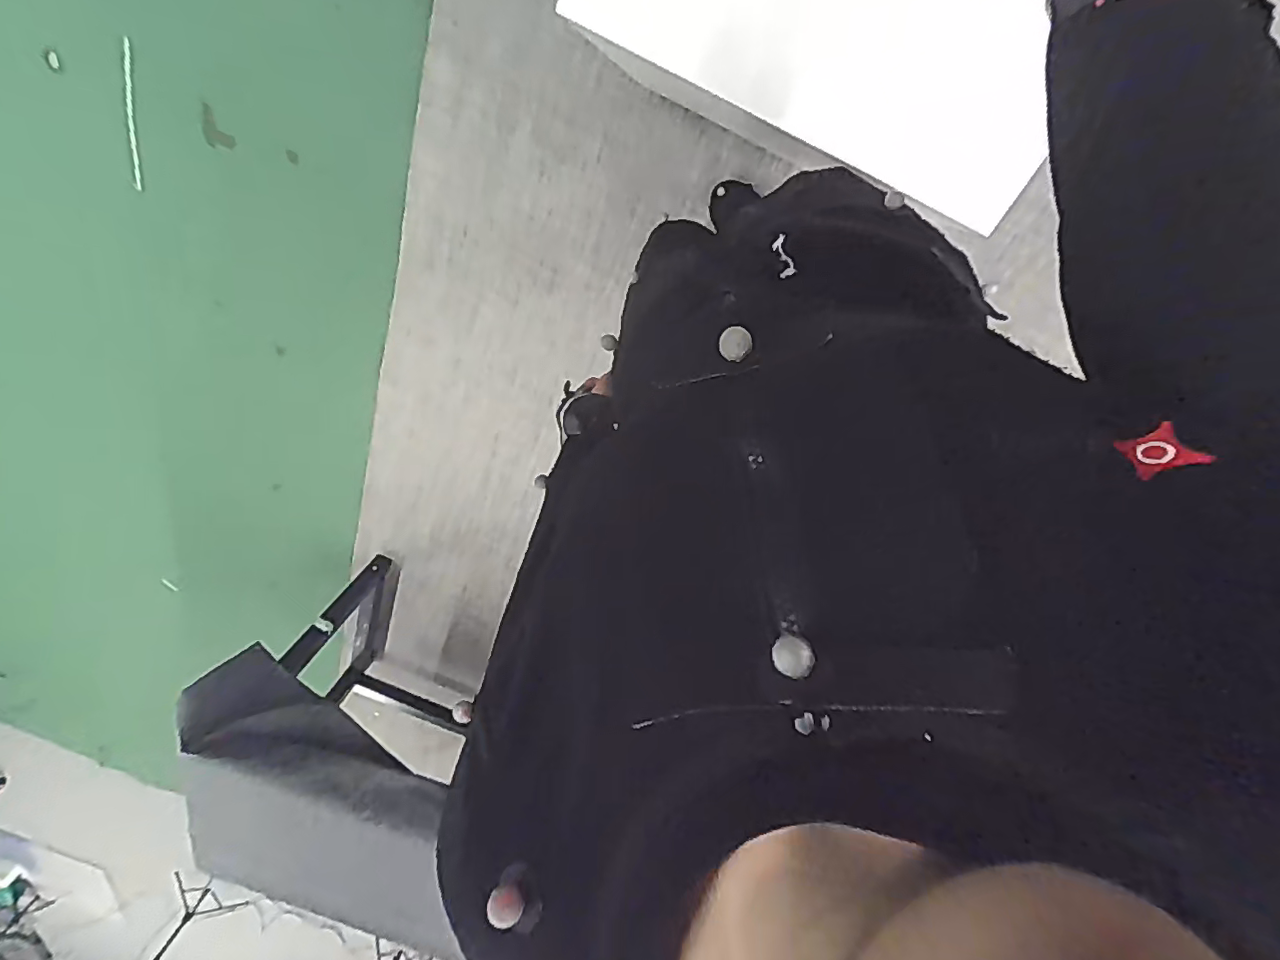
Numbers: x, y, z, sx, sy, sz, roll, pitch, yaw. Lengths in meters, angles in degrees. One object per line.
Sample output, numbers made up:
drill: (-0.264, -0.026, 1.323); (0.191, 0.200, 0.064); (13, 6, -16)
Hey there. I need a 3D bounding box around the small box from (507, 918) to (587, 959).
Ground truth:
small box: (-0.230, 1.144, 1.224); (0.168, 0.176, 0.179); (20, 120, 0)
